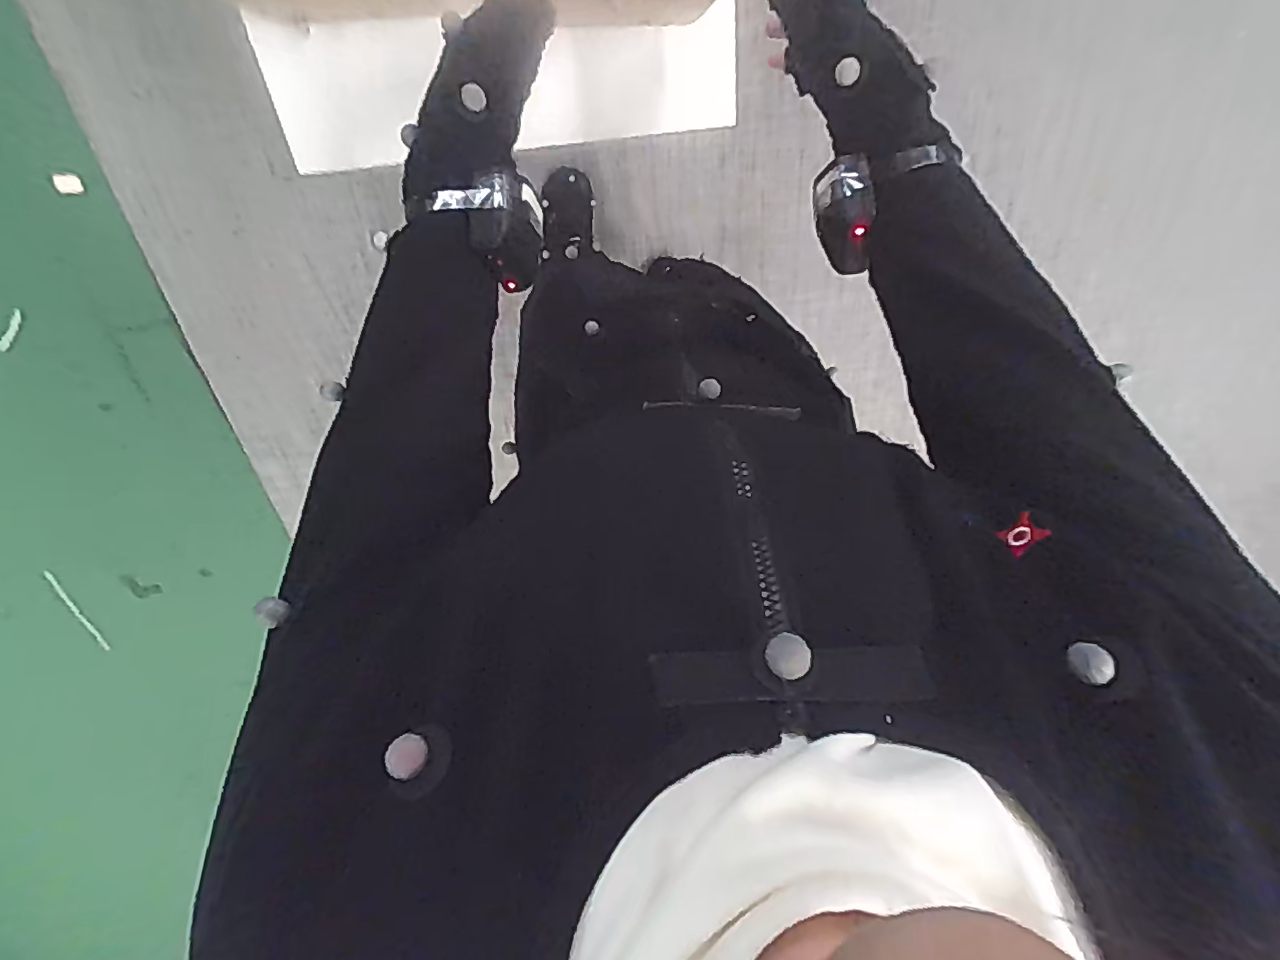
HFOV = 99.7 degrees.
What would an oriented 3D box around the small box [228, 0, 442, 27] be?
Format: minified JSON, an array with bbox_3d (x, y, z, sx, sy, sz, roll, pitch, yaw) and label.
[{"bbox_3d":[-0.280,-0.506,0.451,0.168,0.176,0.179,-8,120,-4],"label":"small box"}]
